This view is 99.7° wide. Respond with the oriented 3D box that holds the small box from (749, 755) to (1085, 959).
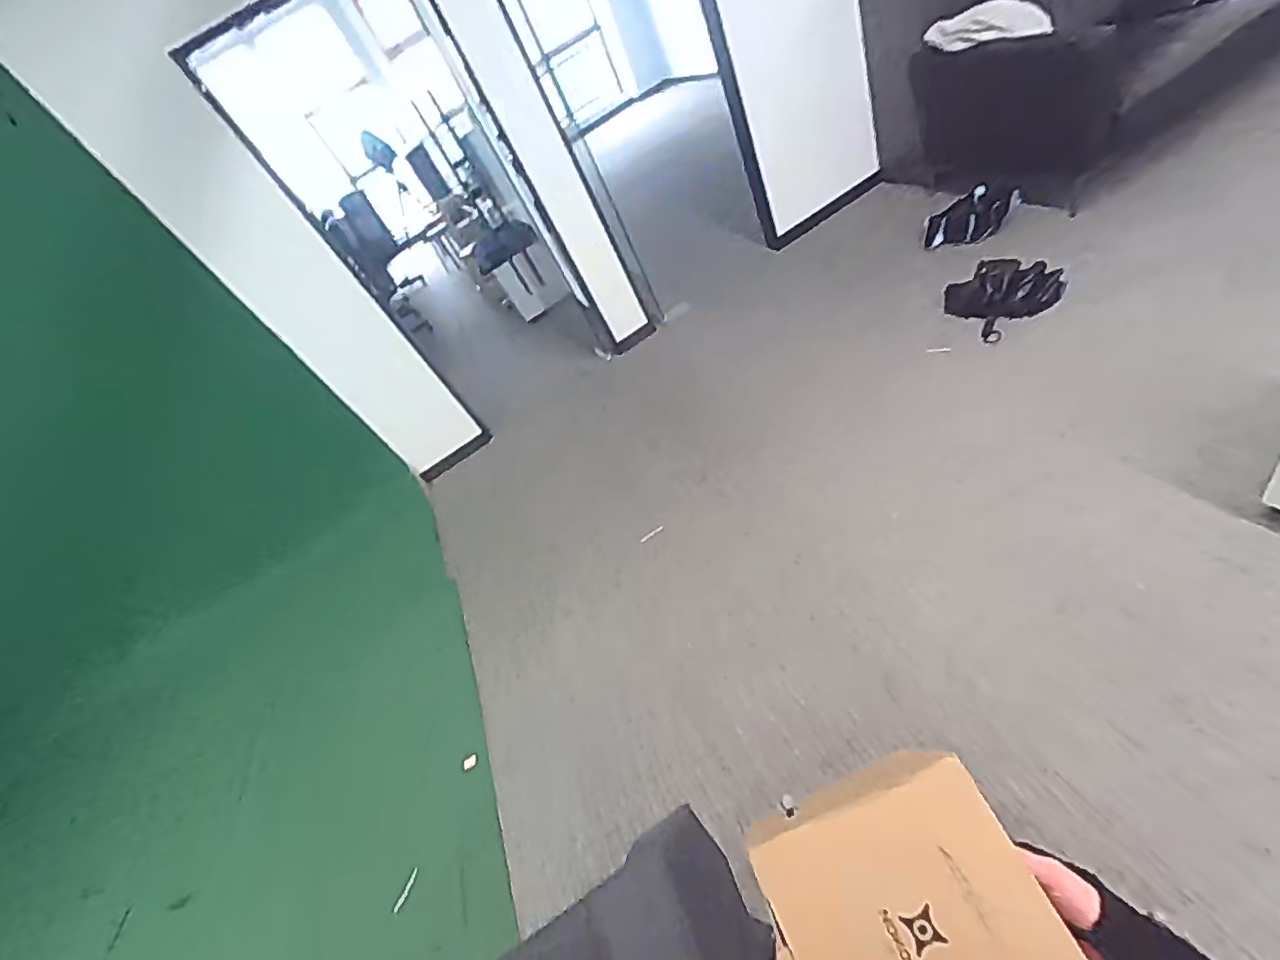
[{"bbox_3d":[0.204,0.341,0.435,0.179,0.176,0.168,-25,62,-1],"label":"small box"}]
